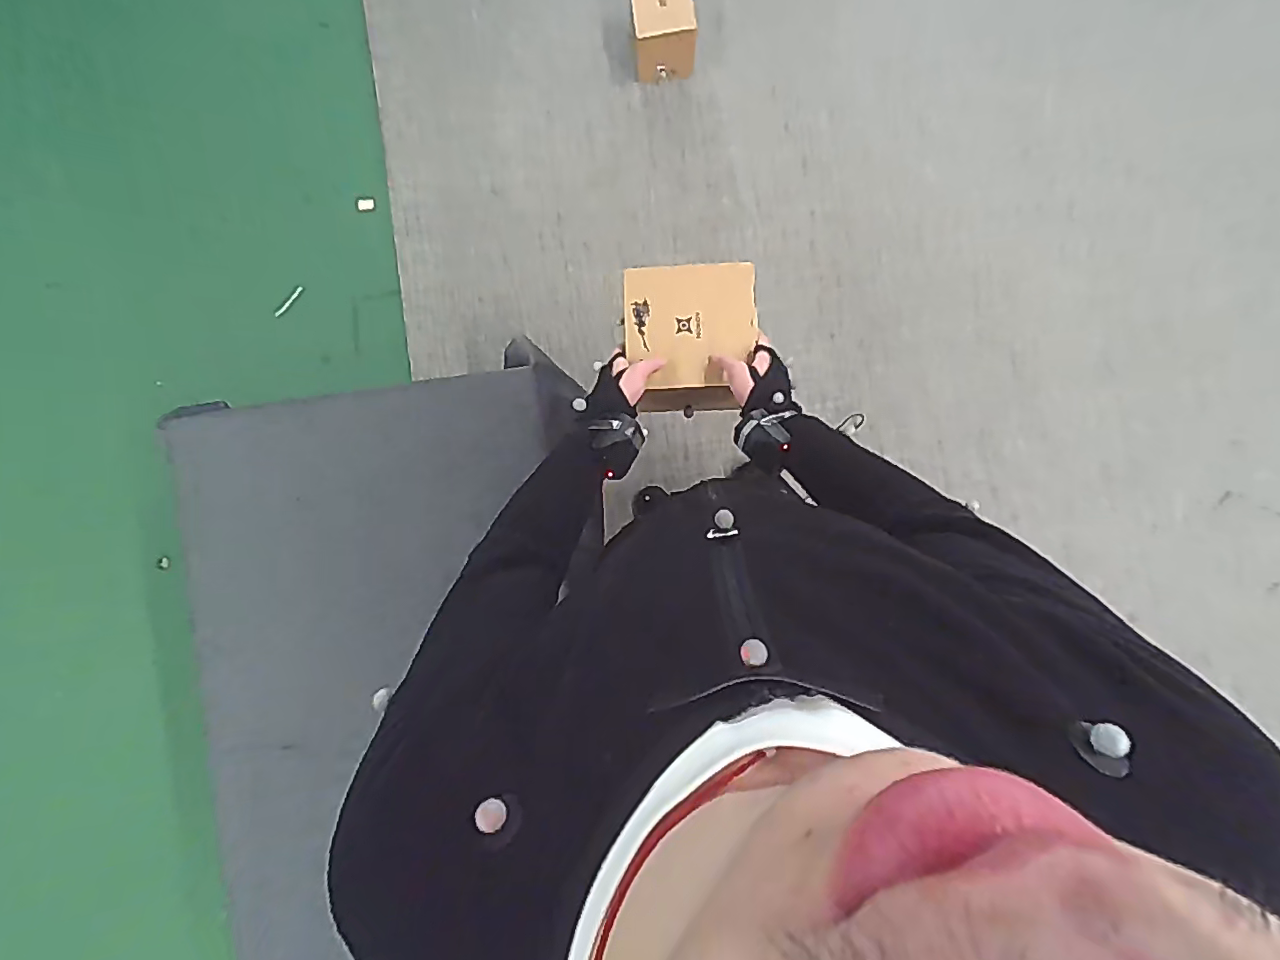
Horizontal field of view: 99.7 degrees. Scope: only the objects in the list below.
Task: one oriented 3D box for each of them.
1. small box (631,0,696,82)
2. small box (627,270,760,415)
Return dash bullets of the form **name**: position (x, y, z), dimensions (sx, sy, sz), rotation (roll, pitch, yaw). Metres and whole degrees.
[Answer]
- **small box**: position (0.064, -1.266, 1.510), dimensions (0.168, 0.176, 0.179), rotation (-6, 89, 4)
- **small box**: position (0.070, -0.192, 0.792), dimensions (0.179, 0.176, 0.168), rotation (-1, 86, 1)
